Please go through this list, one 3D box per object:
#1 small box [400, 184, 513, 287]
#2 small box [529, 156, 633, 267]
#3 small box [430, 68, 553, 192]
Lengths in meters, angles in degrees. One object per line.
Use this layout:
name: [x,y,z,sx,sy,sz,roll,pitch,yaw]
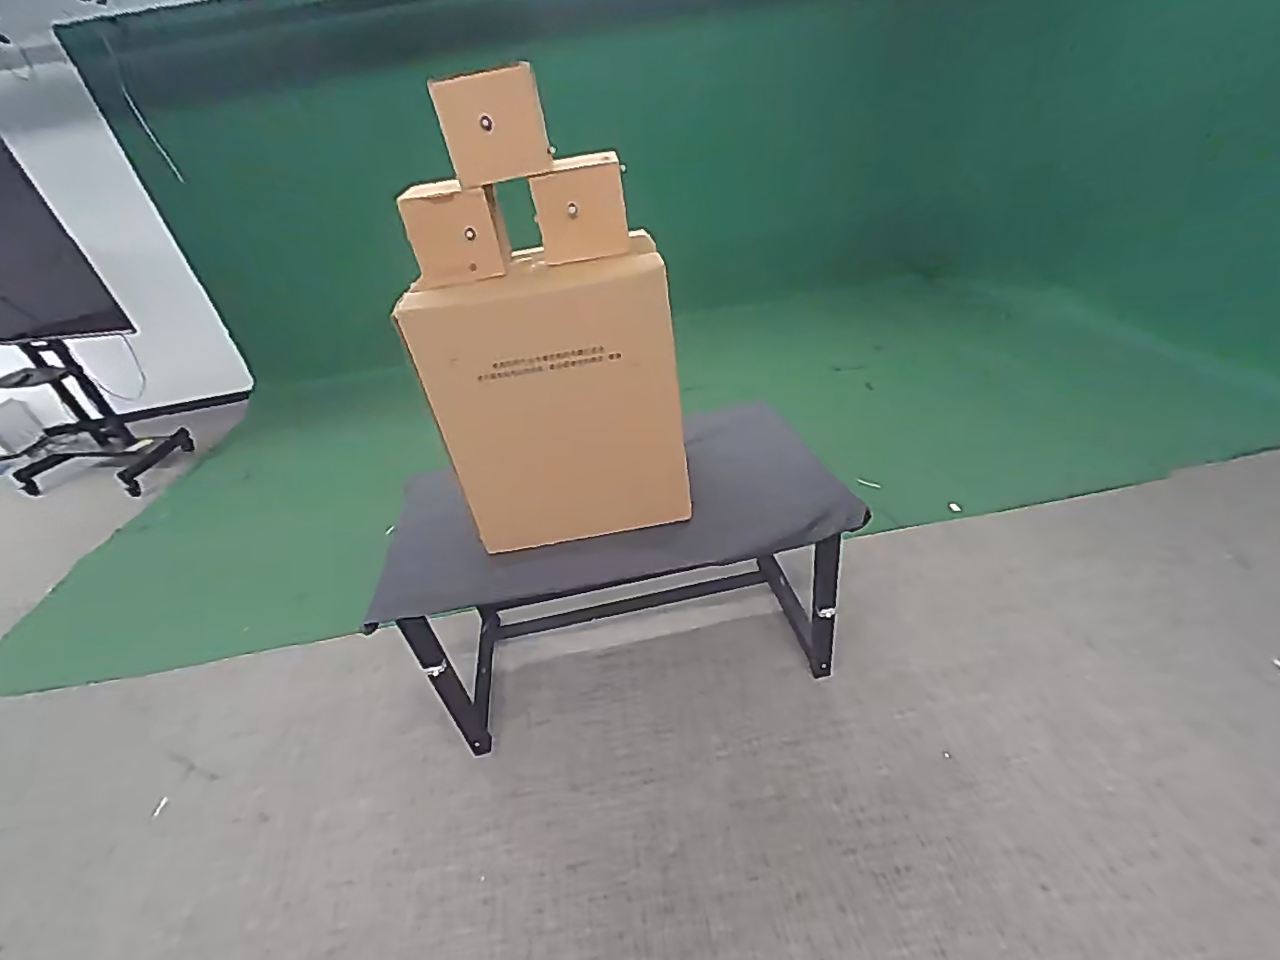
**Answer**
small box: [-0.370,-0.512,1.129,0.168,0.176,0.179,-9,35,-2]
small box: [-0.118,-0.559,1.130,0.179,0.176,0.168,-10,37,1]
small box: [-0.269,-0.666,1.032,0.179,0.176,0.168,-12,37,0]
